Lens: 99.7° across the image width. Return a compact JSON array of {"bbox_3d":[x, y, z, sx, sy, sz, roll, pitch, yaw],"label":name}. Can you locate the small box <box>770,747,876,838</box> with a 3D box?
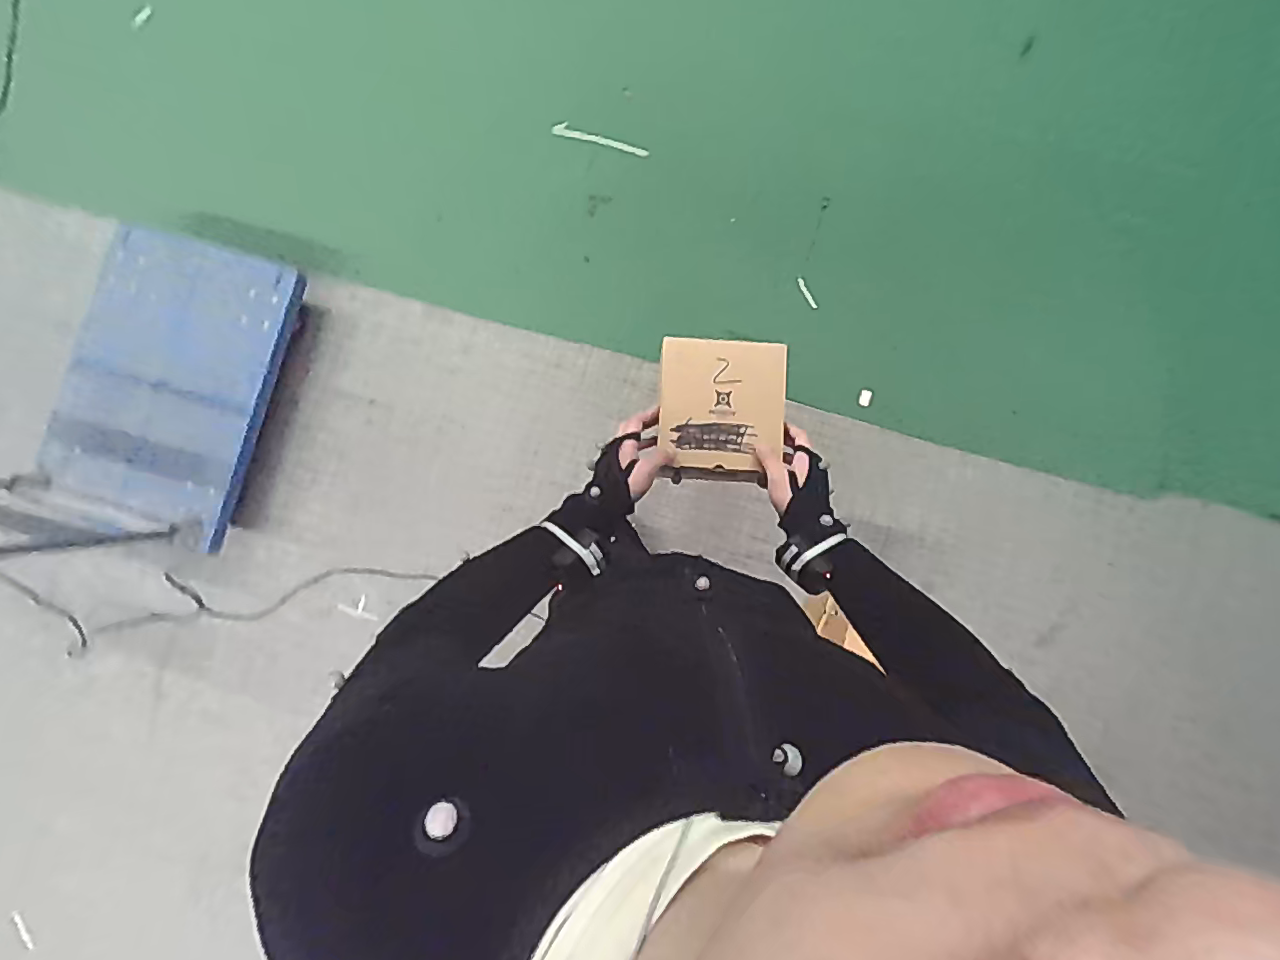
[{"bbox_3d":[0.448,0.804,1.351,0.179,0.176,0.168,23,87,3],"label":"small box"}]

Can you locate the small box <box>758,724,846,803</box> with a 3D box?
[{"bbox_3d":[0.443,0.811,1.515,0.179,0.176,0.168,19,88,4],"label":"small box"}]

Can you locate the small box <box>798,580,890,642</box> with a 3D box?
[{"bbox_3d":[0.577,0.395,1.553,0.179,0.176,0.168,21,88,2],"label":"small box"}]
